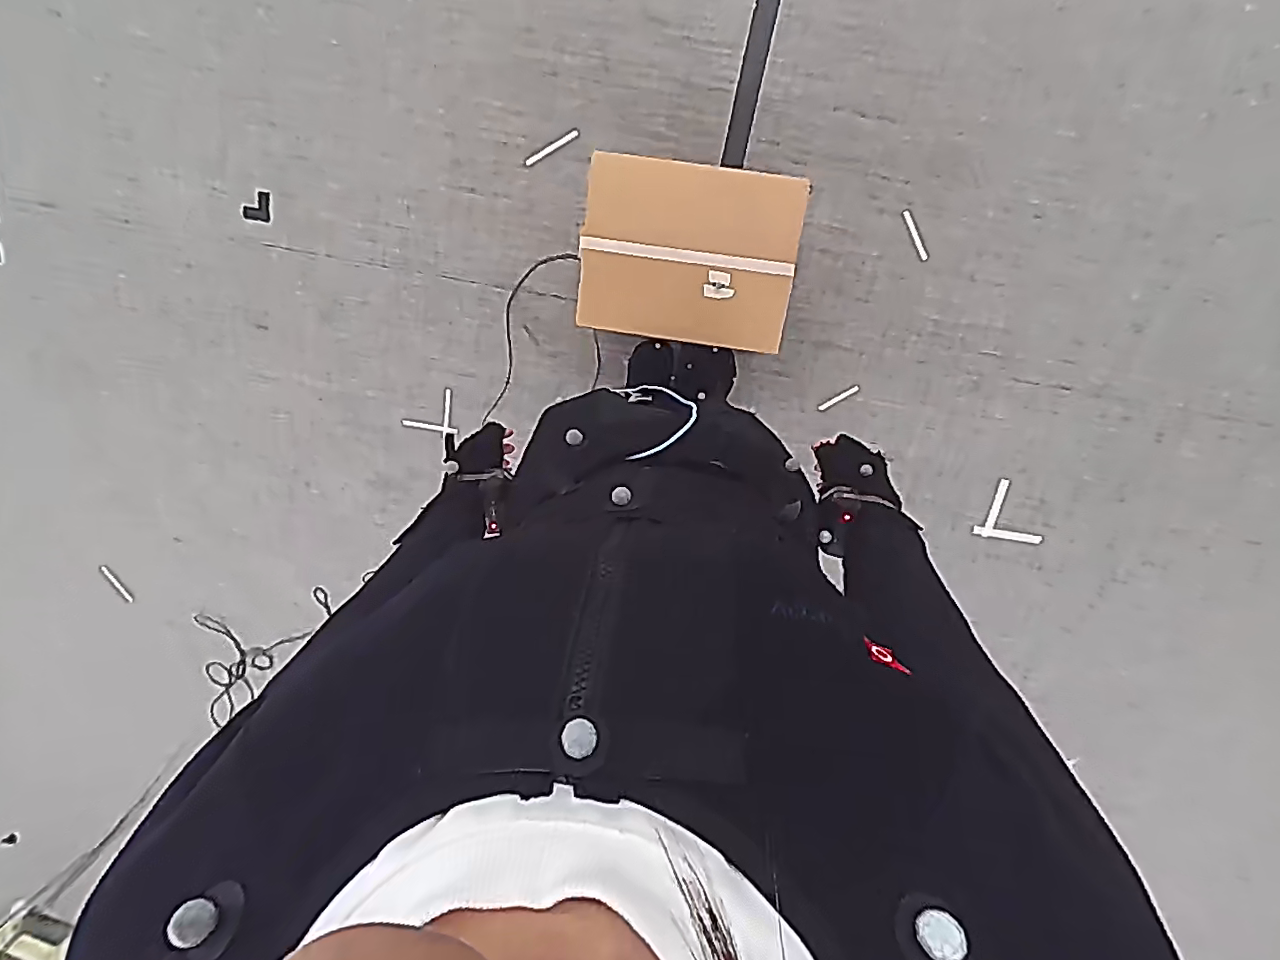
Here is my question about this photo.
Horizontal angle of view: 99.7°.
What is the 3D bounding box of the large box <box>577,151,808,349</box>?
[{"bbox_3d":[0.096,-0.468,1.160,0.408,0.320,0.320,9,108,1],"label":"large box"}]
